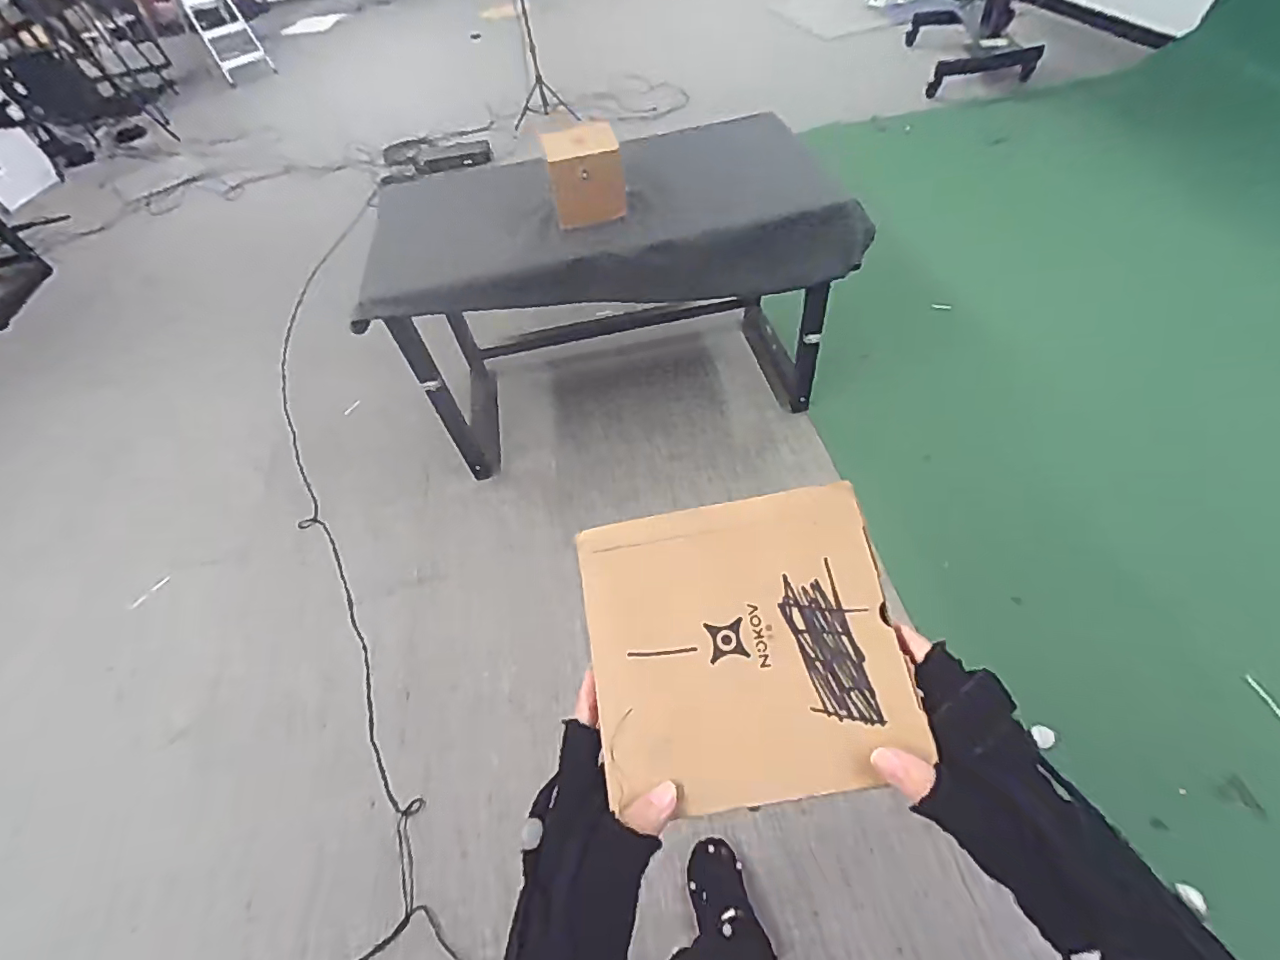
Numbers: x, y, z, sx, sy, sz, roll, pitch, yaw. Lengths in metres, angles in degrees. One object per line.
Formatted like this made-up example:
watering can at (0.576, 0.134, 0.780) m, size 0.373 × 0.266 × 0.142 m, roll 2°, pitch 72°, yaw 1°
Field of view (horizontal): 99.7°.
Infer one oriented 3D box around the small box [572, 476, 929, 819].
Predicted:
small box at (0.061, 0.114, 0.389) m, size 0.179 × 0.176 × 0.168 m, roll -12°, pitch 70°, yaw 0°

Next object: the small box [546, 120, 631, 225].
small box at (-0.126, -0.762, 1.350) m, size 0.179 × 0.176 × 0.168 m, roll -12°, pitch 53°, yaw -3°
